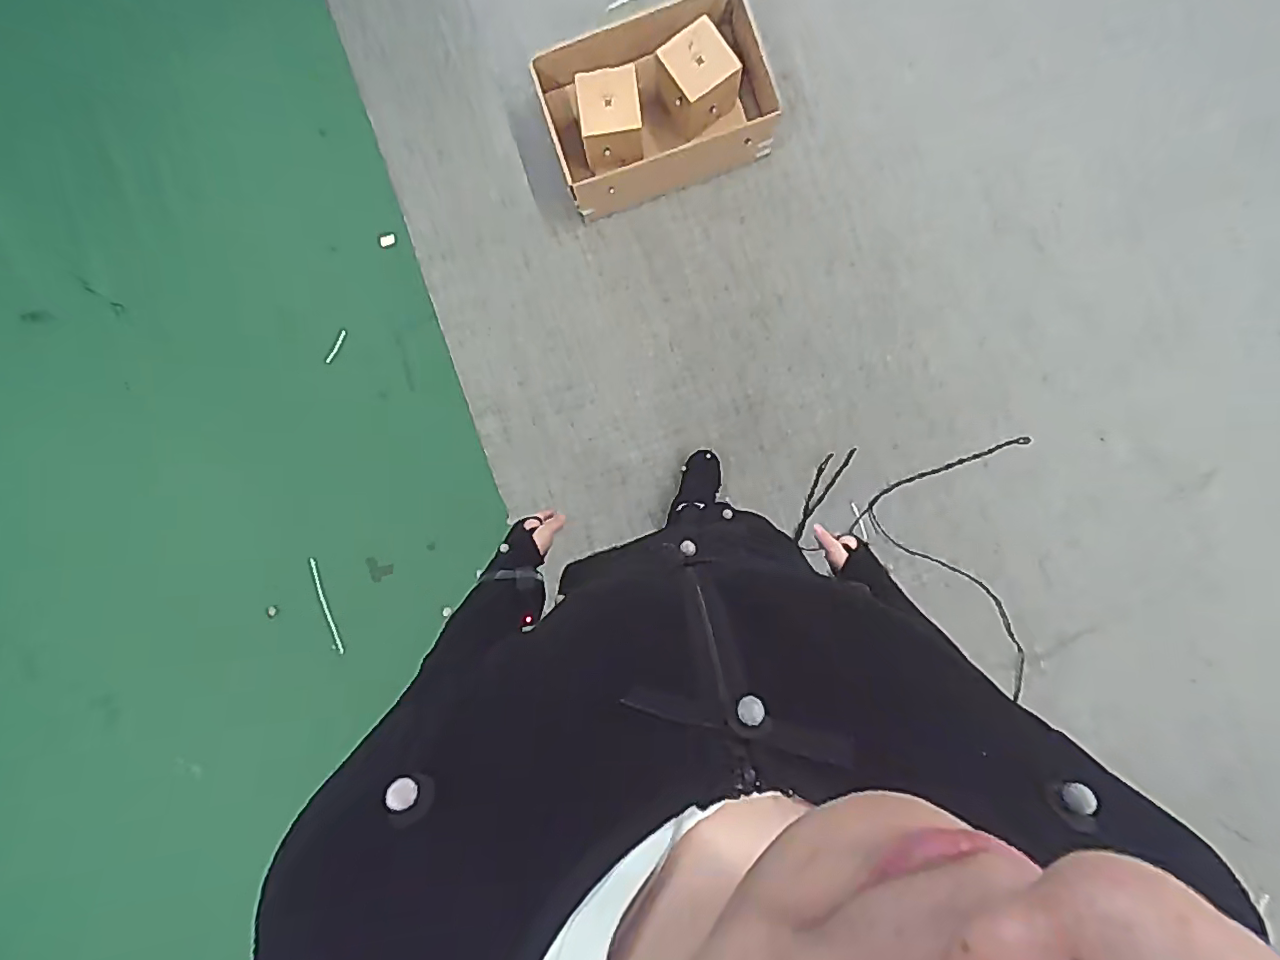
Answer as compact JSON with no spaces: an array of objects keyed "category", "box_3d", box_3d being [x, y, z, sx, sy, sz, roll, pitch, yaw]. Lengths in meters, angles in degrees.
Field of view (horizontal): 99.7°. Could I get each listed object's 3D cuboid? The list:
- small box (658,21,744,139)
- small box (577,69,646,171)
[{"category":"small box","box_3d":[0.168,-1.102,1.513,0.168,0.176,0.179,-34,87,3]},{"category":"small box","box_3d":[-0.074,-1.003,1.528,0.168,0.176,0.179,-7,87,3]}]
